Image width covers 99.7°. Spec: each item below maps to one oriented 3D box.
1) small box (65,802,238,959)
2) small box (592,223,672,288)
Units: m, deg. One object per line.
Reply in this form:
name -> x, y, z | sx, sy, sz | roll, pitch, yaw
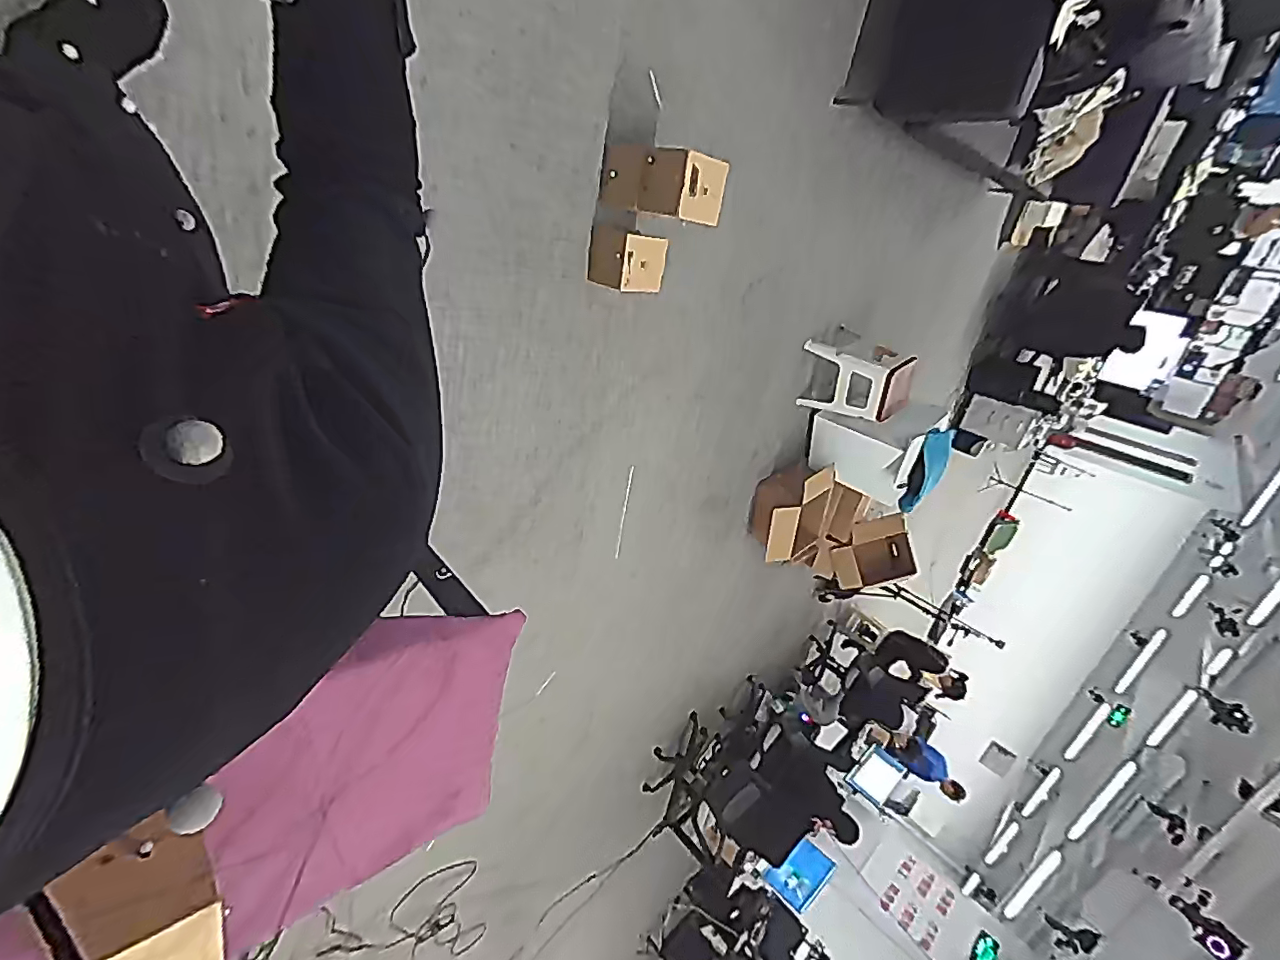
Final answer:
small box -> -0.687, 0.611, 0.765 | 0.168, 0.176, 0.179 | -7, 120, -46
small box -> -0.027, -0.720, 1.732 | 0.179, 0.176, 0.168 | -16, 126, -41
